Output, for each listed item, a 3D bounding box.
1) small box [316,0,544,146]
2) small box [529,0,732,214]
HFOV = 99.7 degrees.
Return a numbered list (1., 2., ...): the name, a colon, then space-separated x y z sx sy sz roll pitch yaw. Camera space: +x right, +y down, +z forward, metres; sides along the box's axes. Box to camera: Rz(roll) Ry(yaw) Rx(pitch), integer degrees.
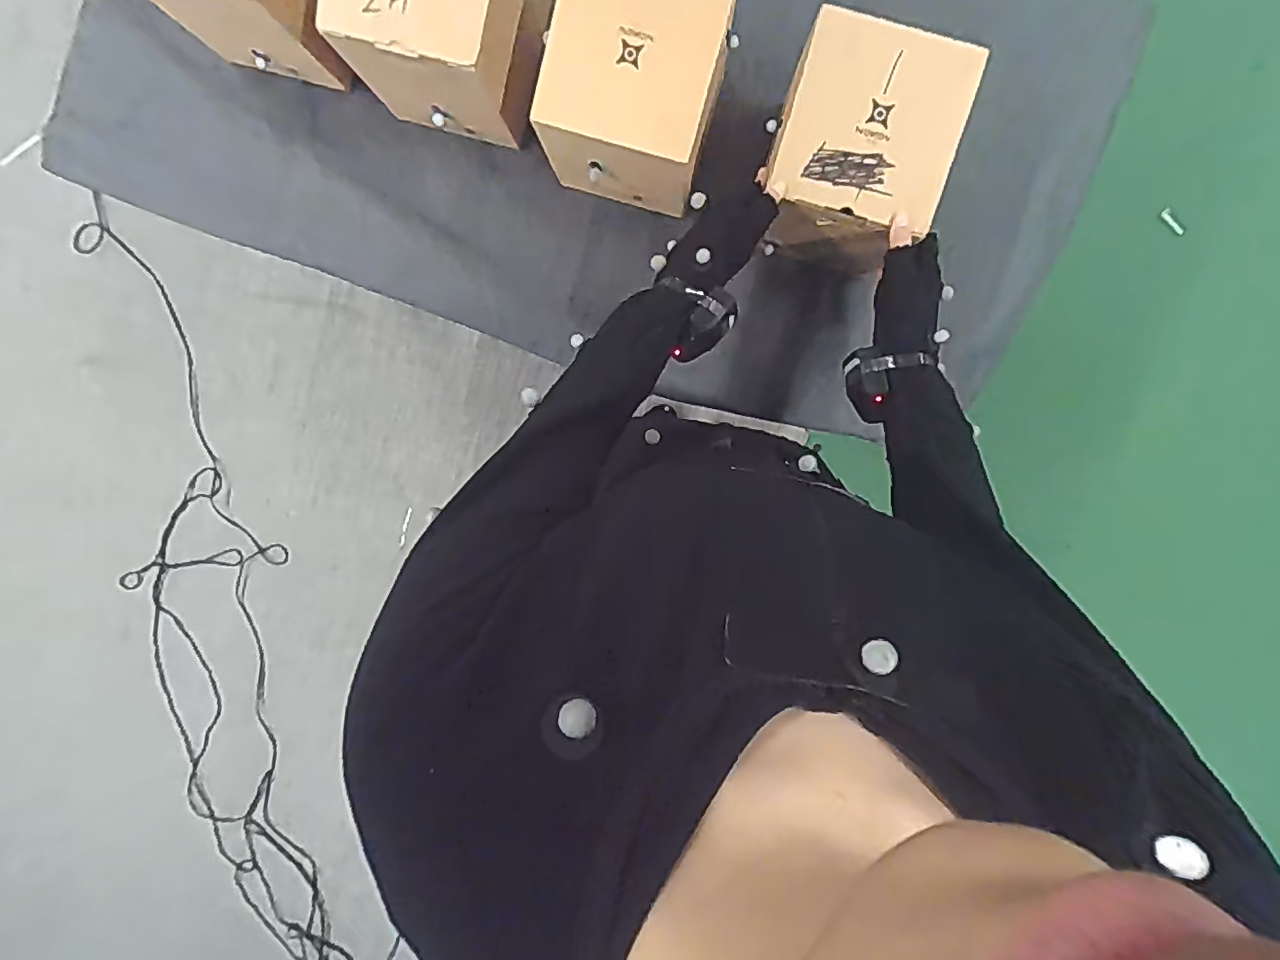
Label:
1. small box: -0.212 -0.513 0.593 0.168 0.176 0.179 15 98 0
2. small box: -0.006 -0.425 0.599 0.168 0.176 0.179 16 98 0
